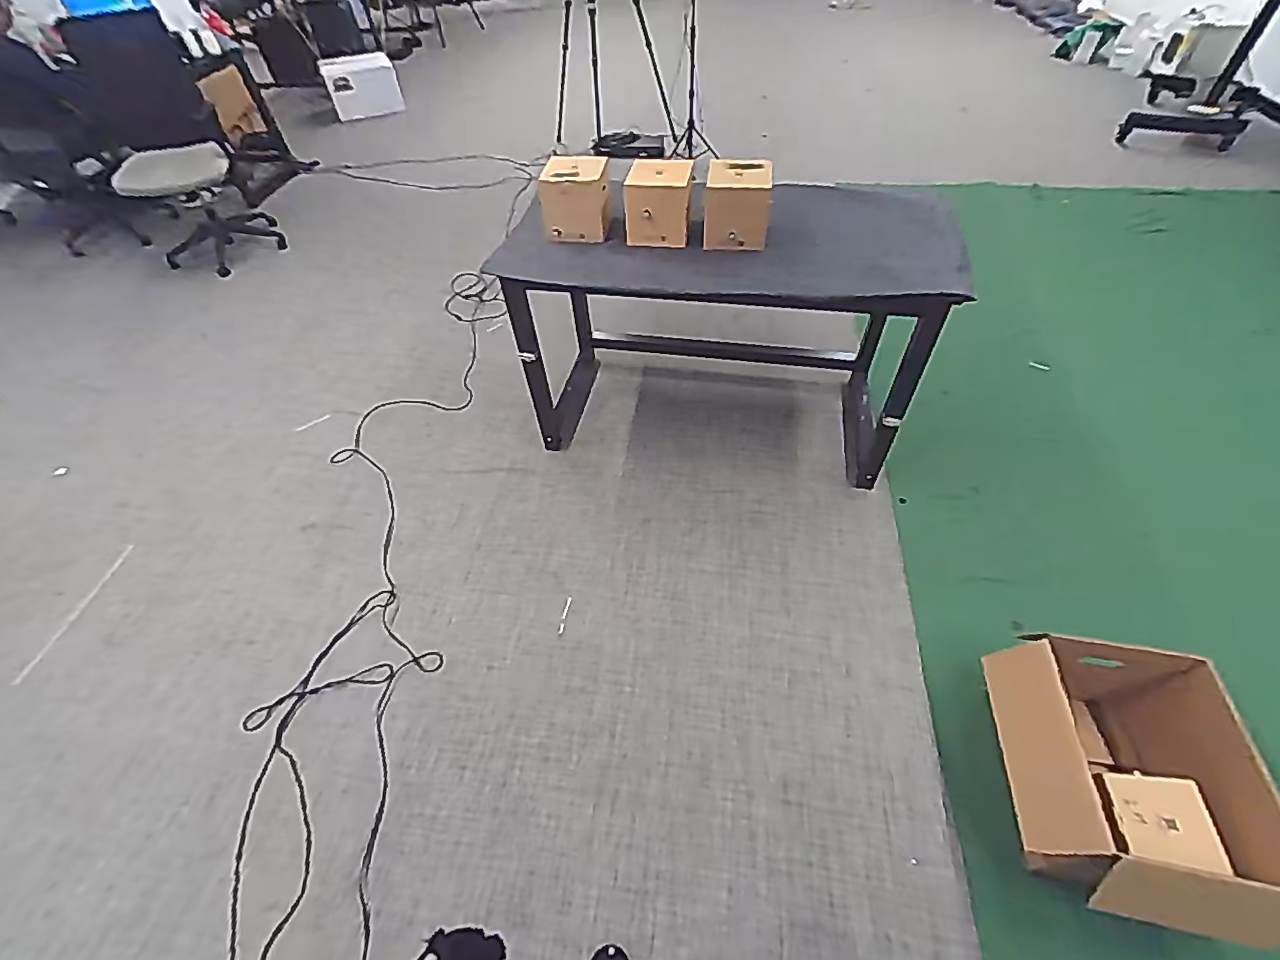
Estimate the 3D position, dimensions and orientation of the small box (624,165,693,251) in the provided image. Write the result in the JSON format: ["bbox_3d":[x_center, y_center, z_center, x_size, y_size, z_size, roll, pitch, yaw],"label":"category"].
[{"bbox_3d":[0.057,-0.755,1.504,0.168,0.176,0.179,6,50,9],"label":"small box"}]

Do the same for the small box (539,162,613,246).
[{"bbox_3d":[-0.174,-0.785,1.541,0.168,0.176,0.179,4,49,6],"label":"small box"}]
